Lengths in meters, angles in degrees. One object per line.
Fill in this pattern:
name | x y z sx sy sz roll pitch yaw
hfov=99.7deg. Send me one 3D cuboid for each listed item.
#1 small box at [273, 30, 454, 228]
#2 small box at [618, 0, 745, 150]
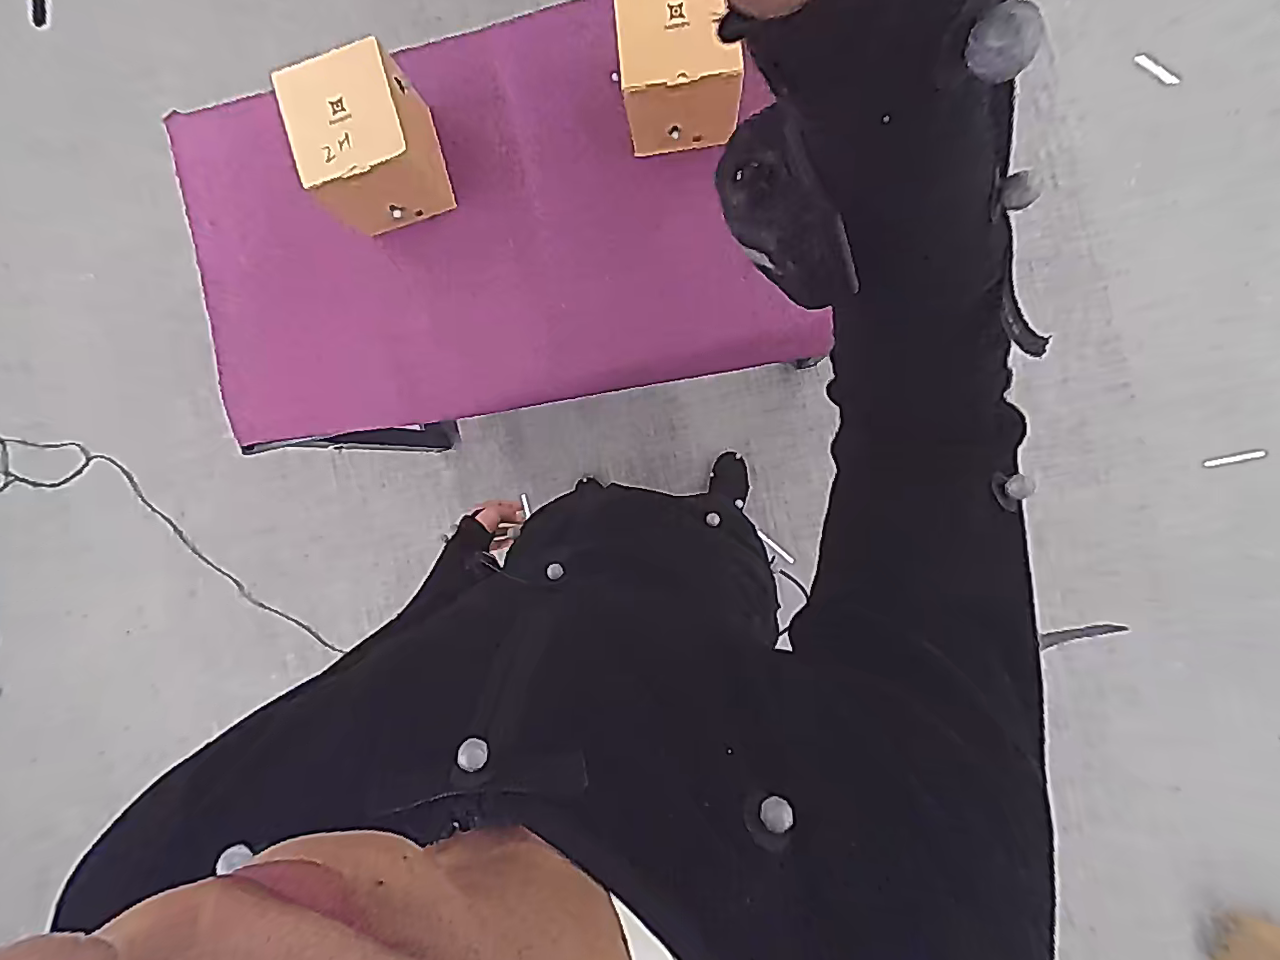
small box | -0.417 -0.530 0.843 0.168 0.176 0.179 -15 91 5
small box | 0.058 -0.631 0.799 0.168 0.176 0.179 -6 93 6
